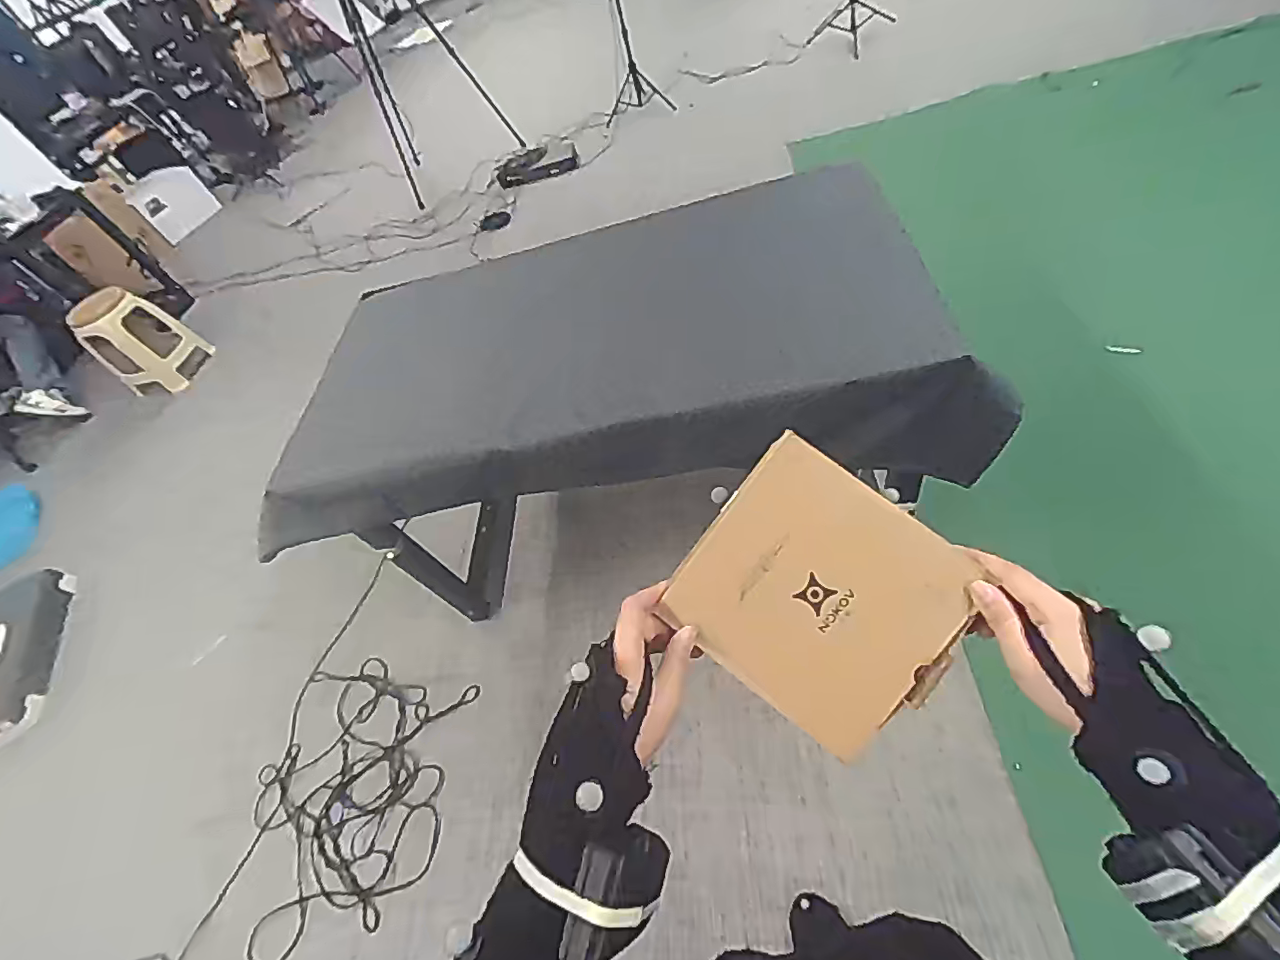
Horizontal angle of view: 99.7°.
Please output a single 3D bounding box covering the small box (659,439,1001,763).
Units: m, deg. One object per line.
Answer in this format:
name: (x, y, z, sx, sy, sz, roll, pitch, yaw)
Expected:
small box: (0.141, 0.083, 0.458, 0.179, 0.176, 0.168, 37, 95, 8)
